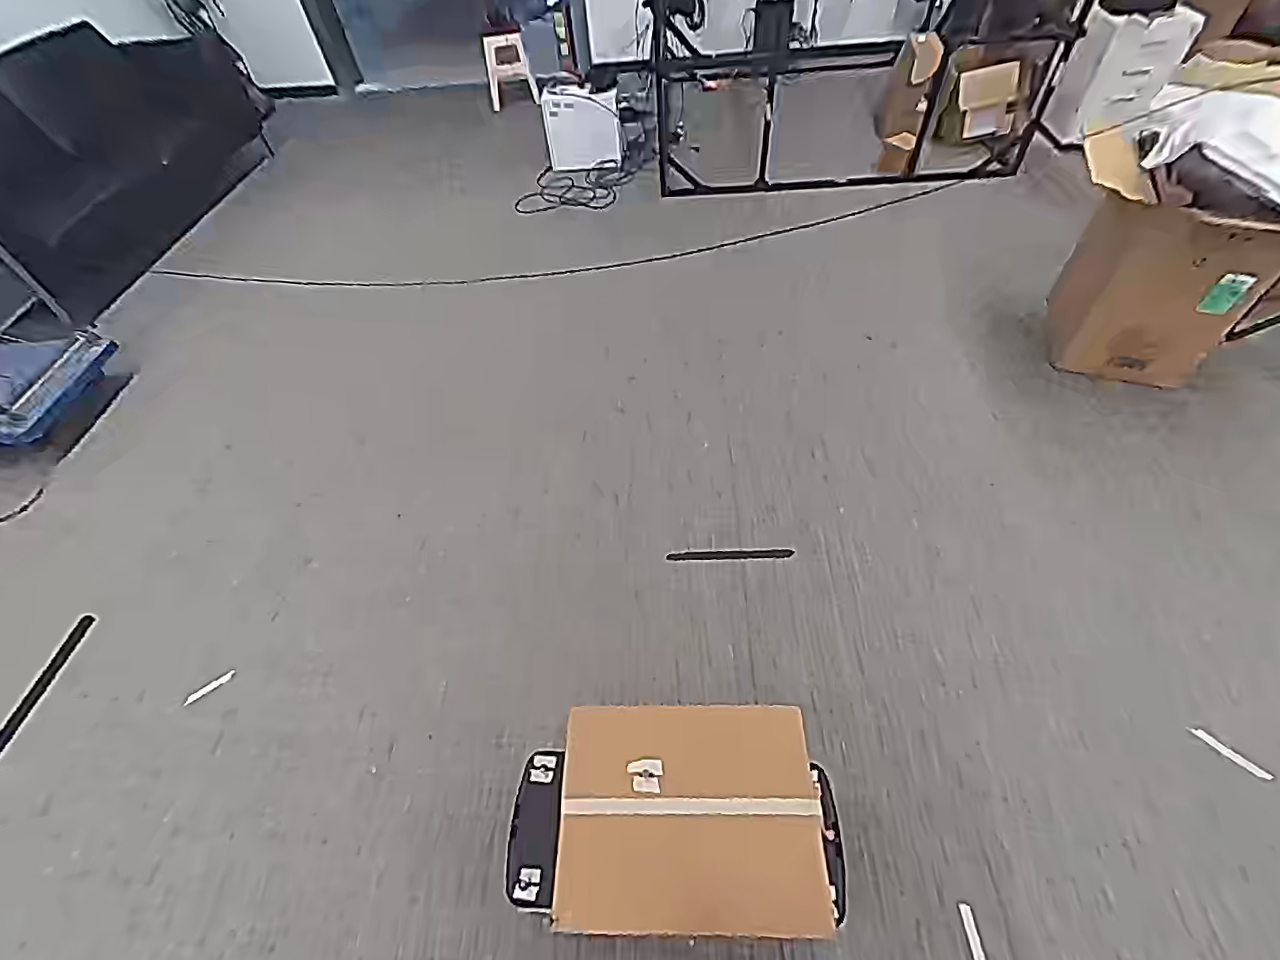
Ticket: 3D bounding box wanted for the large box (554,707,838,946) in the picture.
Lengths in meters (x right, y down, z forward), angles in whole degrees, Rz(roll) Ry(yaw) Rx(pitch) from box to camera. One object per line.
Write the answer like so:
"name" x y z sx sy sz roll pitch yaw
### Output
"large box" 0.090 0.610 0.959 0.408 0.320 0.320 -3 51 5
